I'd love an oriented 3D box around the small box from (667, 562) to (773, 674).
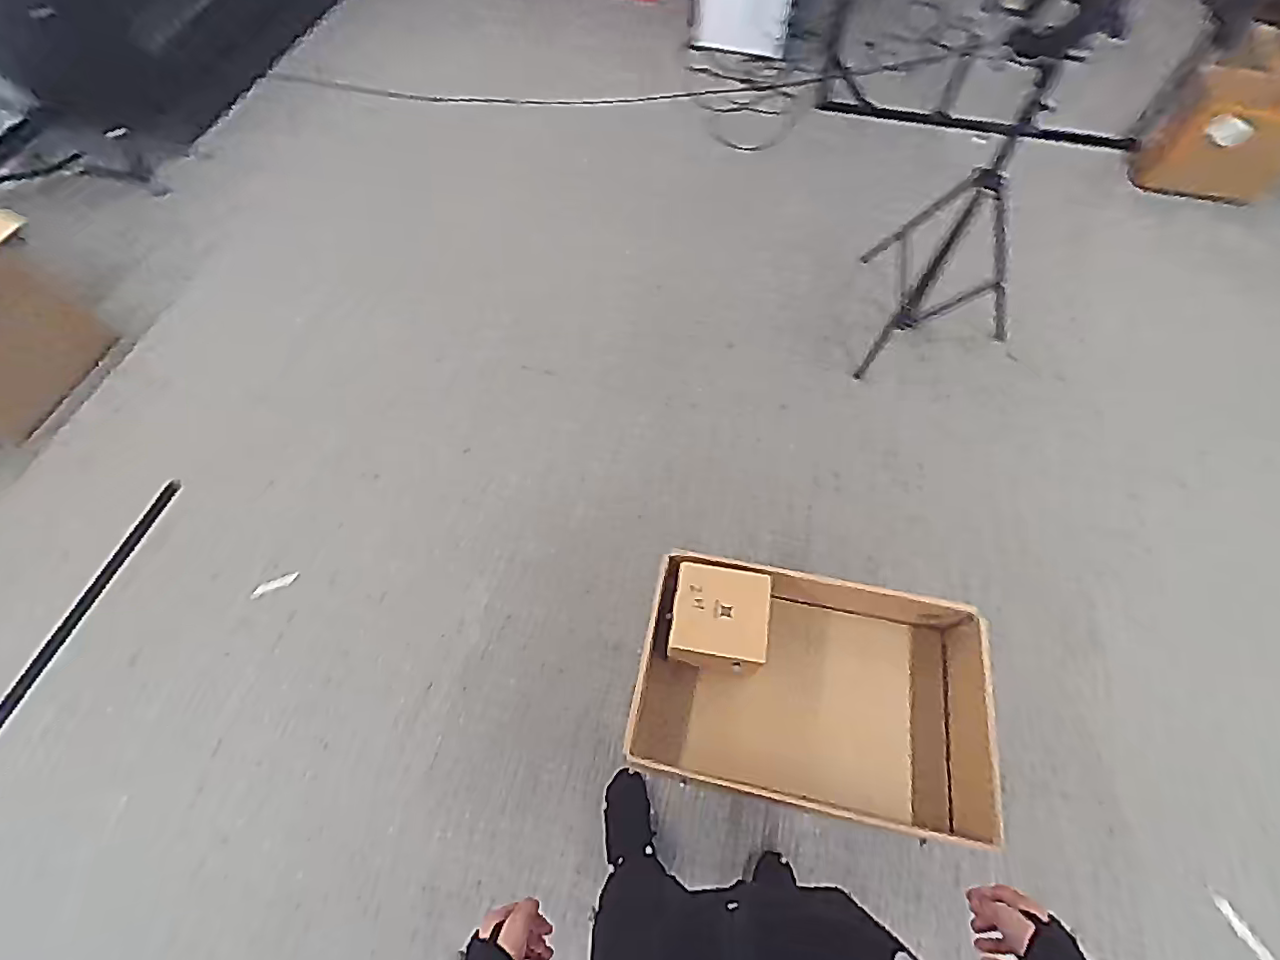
[{"bbox_3d":[0.154,0.278,1.067,0.179,0.176,0.168,9,63,7],"label":"small box"}]
